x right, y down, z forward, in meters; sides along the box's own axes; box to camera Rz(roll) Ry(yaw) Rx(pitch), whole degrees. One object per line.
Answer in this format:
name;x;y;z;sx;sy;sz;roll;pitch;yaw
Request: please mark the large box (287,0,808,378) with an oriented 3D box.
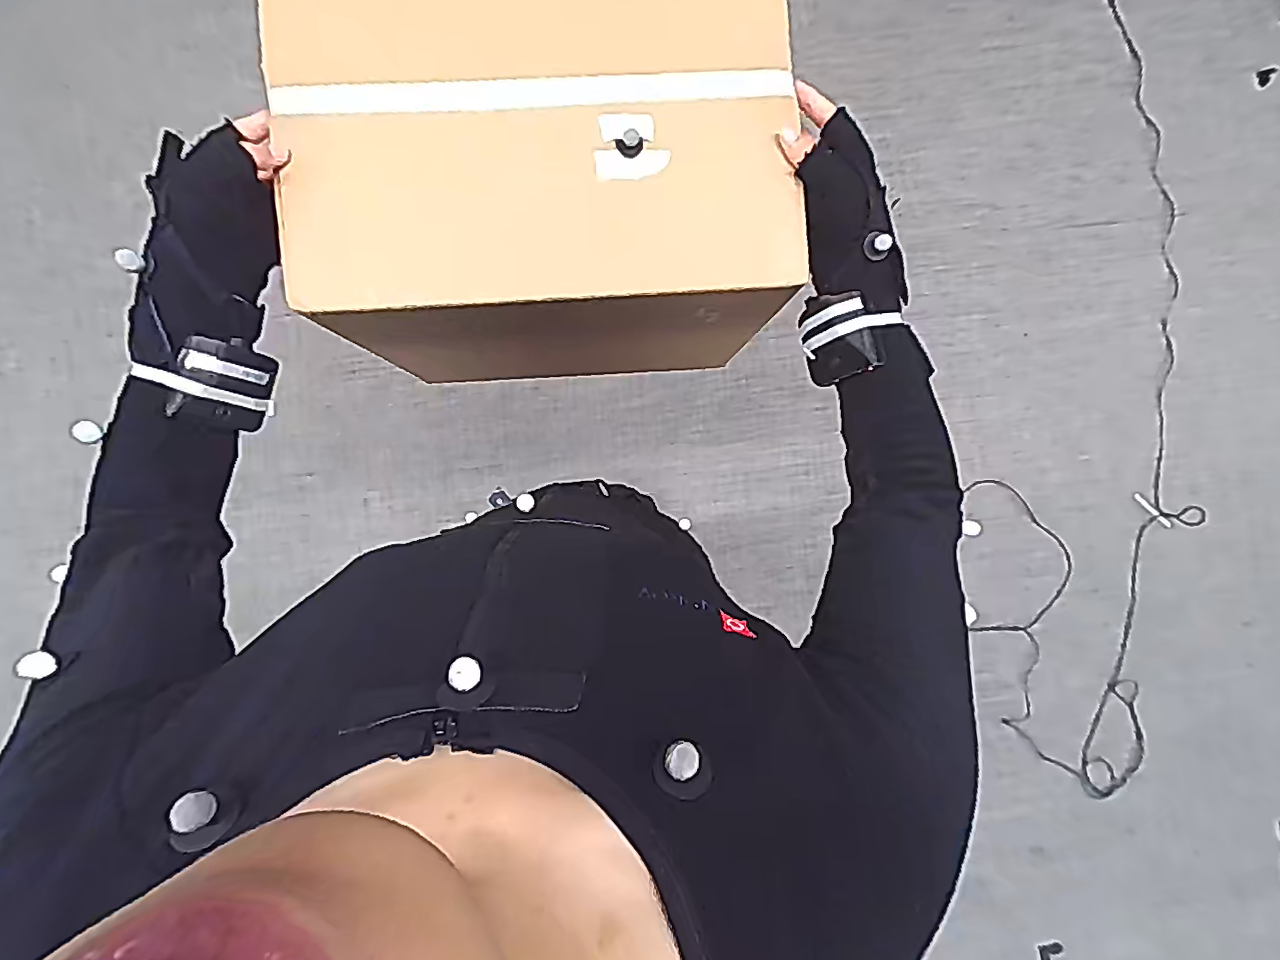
large box;-0.082;-0.305;0.581;0.408;0.320;0.320;-5;91;-4
